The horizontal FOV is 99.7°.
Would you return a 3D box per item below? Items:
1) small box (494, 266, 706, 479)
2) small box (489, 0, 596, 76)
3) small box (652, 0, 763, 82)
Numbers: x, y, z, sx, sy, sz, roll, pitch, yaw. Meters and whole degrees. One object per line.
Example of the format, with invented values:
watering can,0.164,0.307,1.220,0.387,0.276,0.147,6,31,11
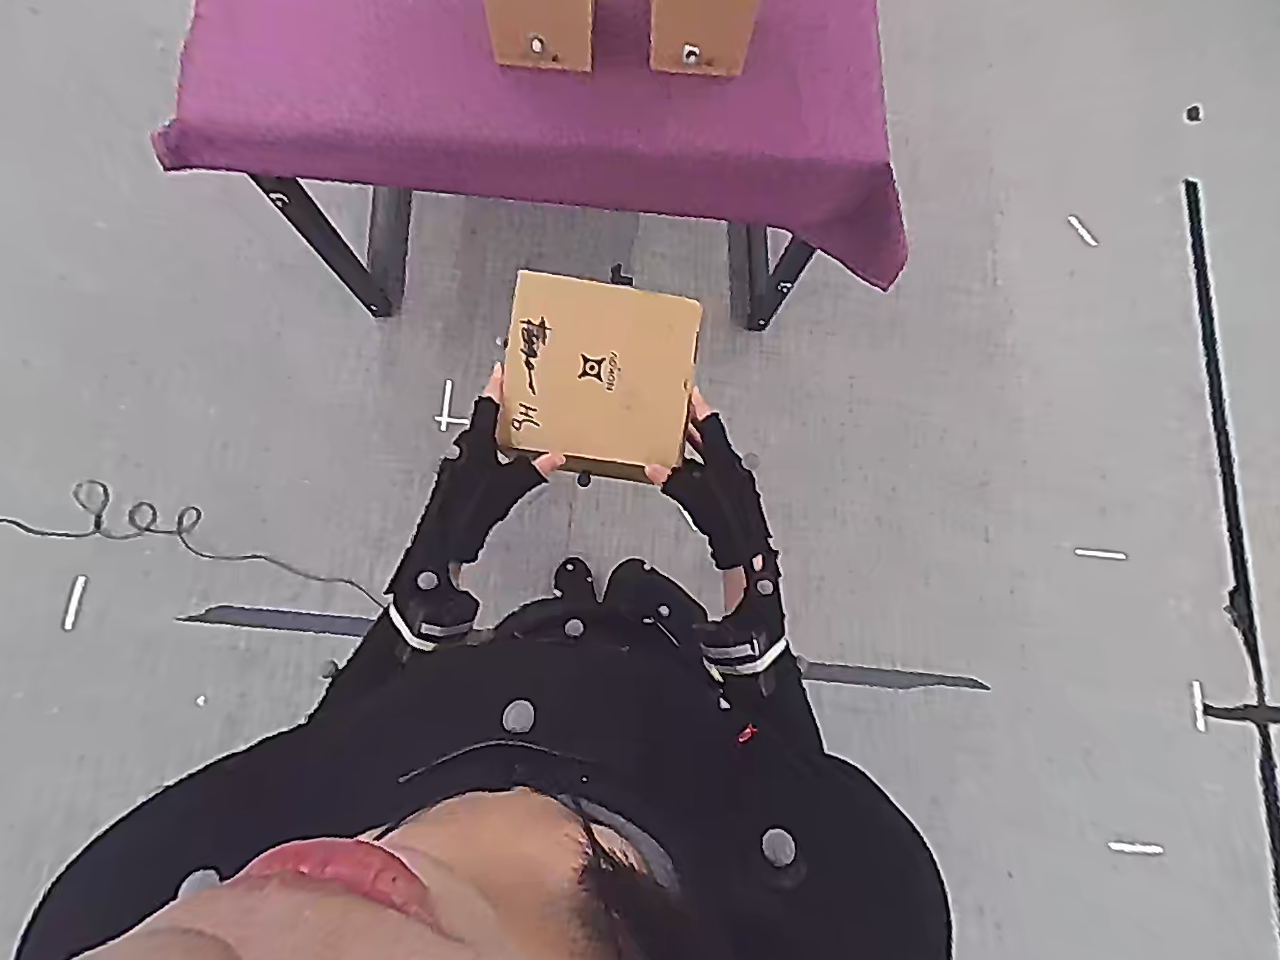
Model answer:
small box,-0.045,-0.096,0.572,0.179,0.176,0.168,8,84,-8
small box,-0.158,-0.818,0.889,0.168,0.176,0.179,2,80,-3
small box,0.107,-0.822,0.909,0.168,0.176,0.179,0,80,-3
